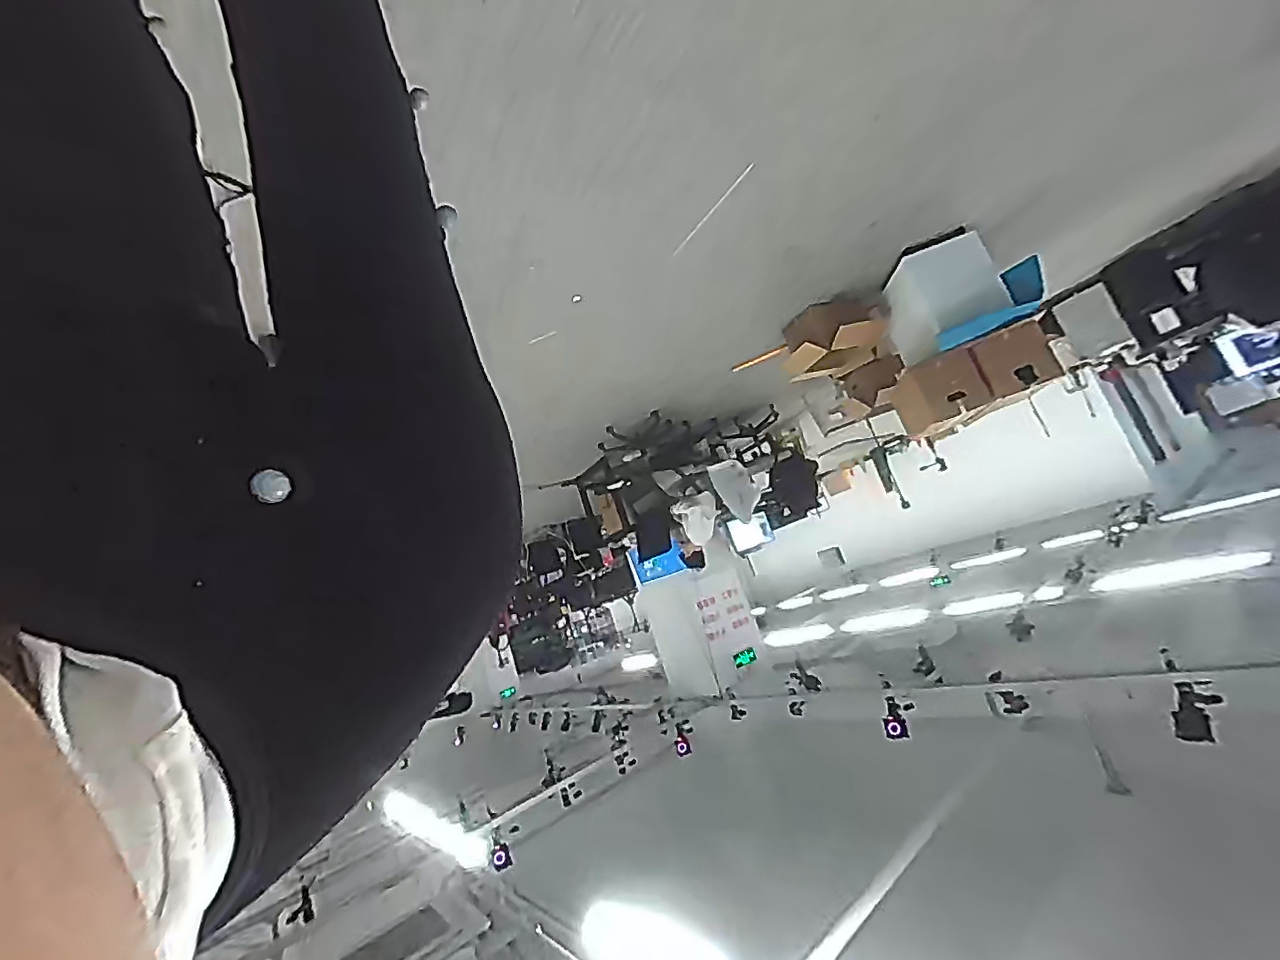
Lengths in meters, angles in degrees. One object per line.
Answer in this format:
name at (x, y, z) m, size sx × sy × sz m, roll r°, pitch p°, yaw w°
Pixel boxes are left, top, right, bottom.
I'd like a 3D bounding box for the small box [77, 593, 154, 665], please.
small box at (-1.670, 0.468, 1.715) m, size 0.168 × 0.176 × 0.179 m, roll -9°, pitch 165°, yaw -41°
